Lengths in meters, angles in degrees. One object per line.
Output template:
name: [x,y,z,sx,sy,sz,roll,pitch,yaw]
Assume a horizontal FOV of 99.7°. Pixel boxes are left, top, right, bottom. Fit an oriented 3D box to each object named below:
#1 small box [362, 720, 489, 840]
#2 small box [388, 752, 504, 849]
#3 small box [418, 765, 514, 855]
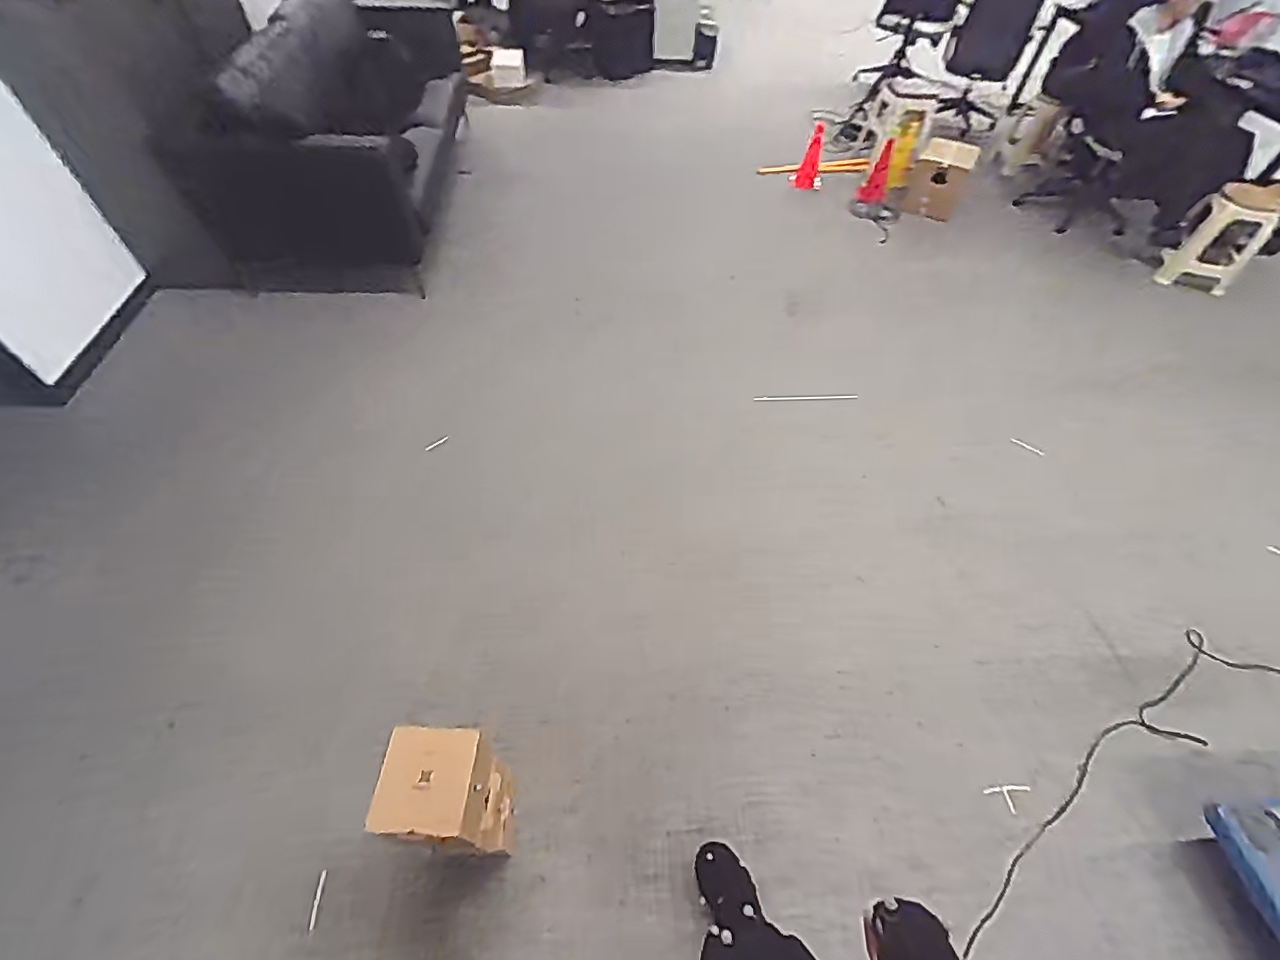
small box: [-0.398,0.581,1.041,0.168,0.176,0.179,4,52,-1]
small box: [-0.406,0.688,1.165,0.179,0.176,0.168,4,53,0]
small box: [-0.404,0.789,1.294,0.179,0.176,0.168,1,51,-4]
